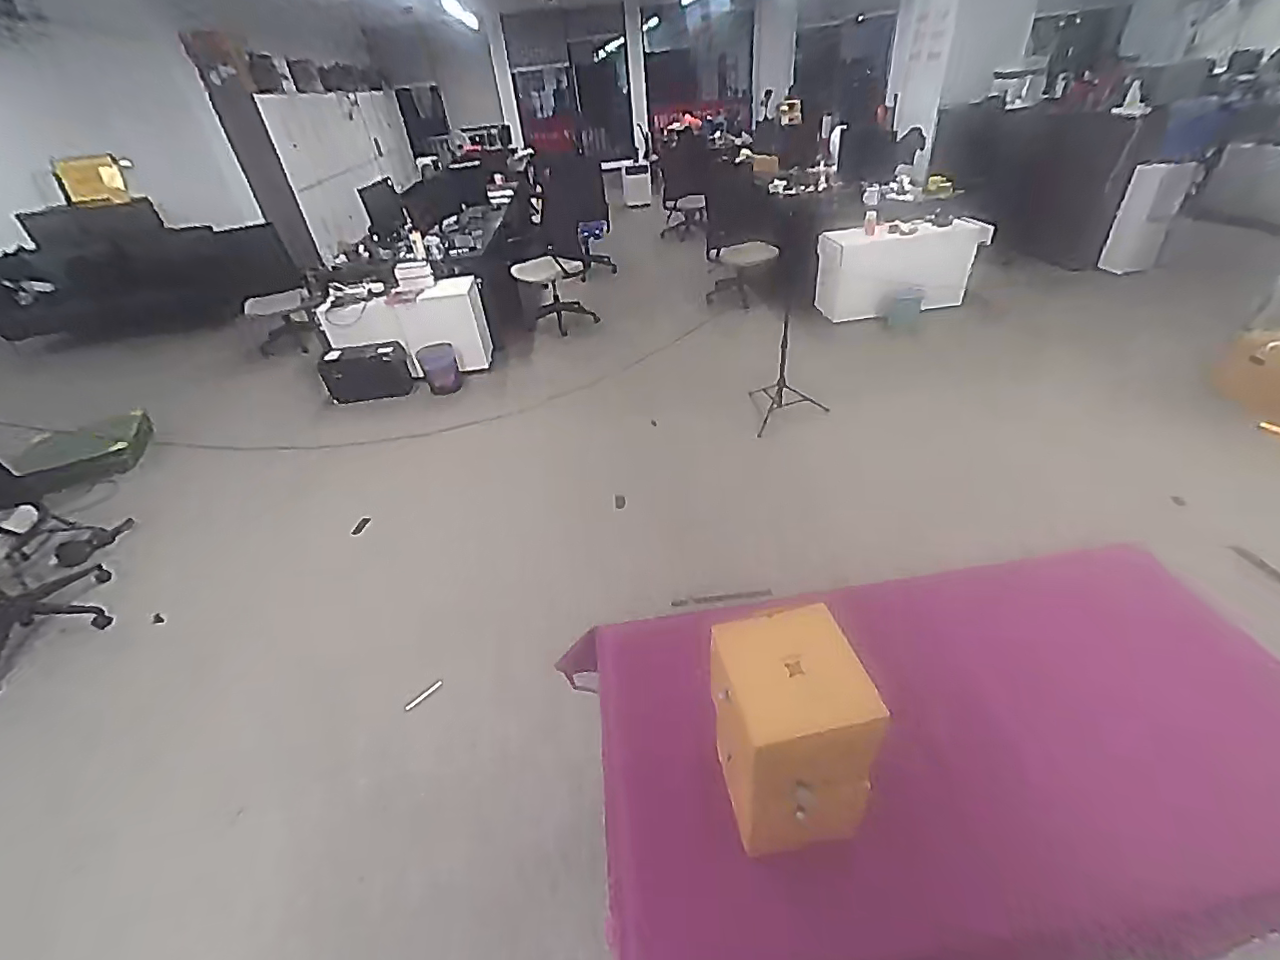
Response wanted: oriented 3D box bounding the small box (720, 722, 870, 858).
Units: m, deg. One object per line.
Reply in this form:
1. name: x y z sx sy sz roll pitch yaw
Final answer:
1. small box: 0.220 0.434 0.824 0.168 0.176 0.179 -9 36 -4

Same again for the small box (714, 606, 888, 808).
1. small box: 0.199 0.302 0.729 0.168 0.176 0.179 -10 37 -5
